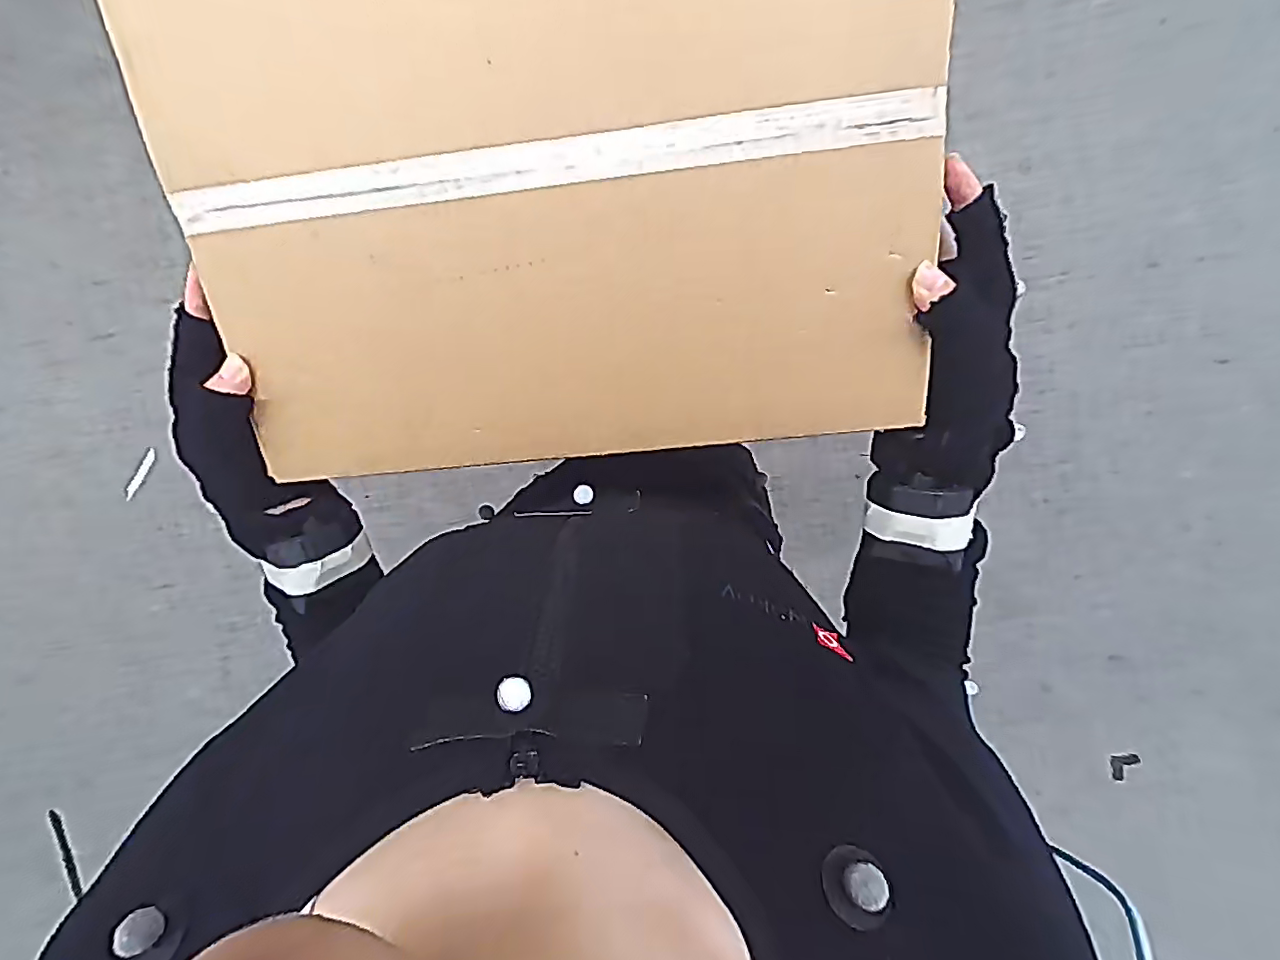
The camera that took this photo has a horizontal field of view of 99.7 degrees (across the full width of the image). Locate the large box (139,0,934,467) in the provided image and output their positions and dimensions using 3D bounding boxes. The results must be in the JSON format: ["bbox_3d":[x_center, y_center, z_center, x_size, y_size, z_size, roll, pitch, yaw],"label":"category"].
[{"bbox_3d":[-0.044,-0.219,0.434,0.408,0.320,0.320,-5,110,4],"label":"large box"}]
